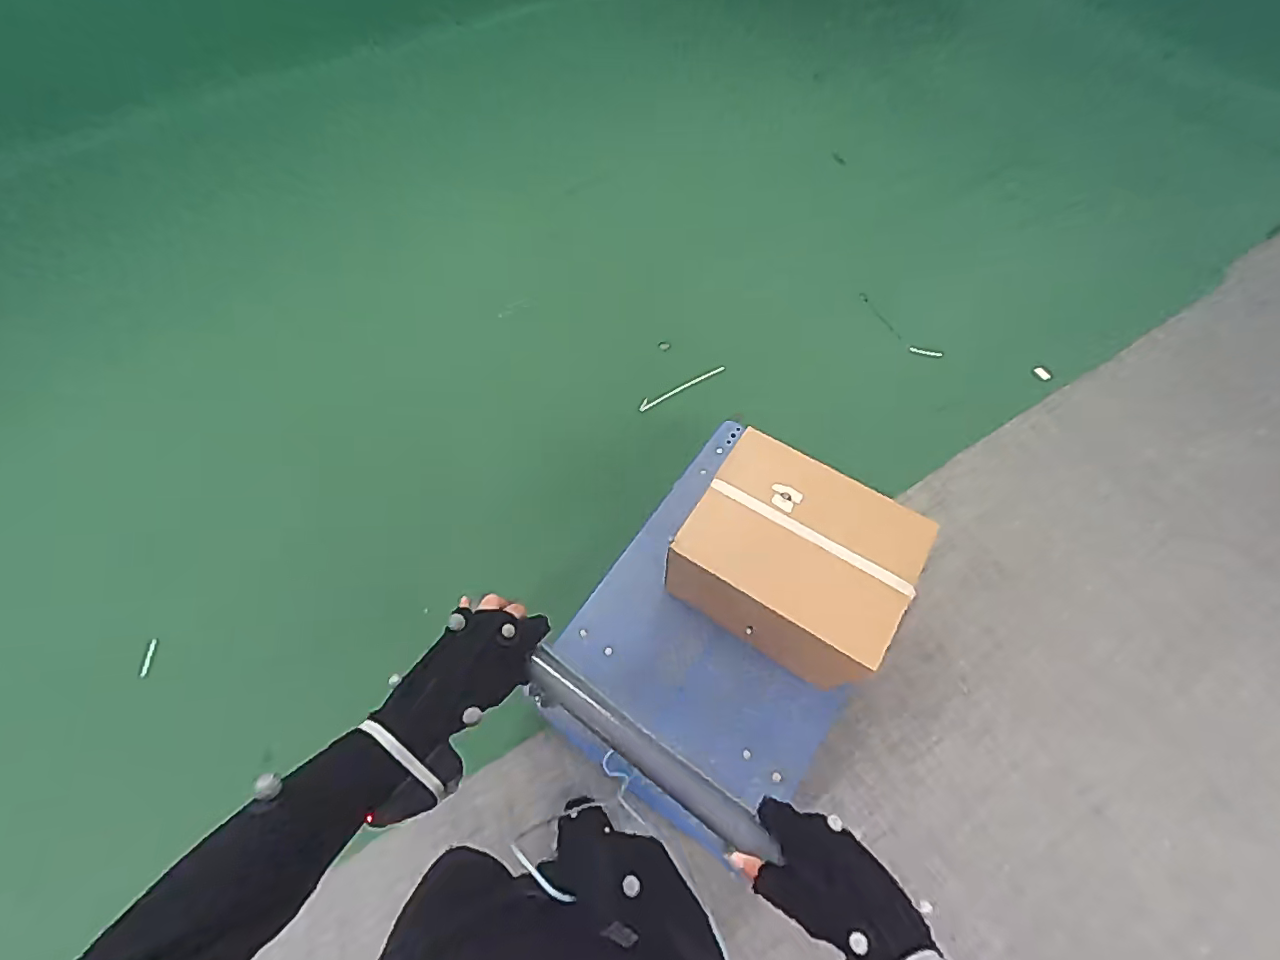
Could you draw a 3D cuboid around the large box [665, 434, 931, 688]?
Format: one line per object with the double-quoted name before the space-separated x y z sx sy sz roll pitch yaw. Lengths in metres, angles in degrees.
"large box" 0.301 0.177 1.128 0.408 0.320 0.320 30 67 17
